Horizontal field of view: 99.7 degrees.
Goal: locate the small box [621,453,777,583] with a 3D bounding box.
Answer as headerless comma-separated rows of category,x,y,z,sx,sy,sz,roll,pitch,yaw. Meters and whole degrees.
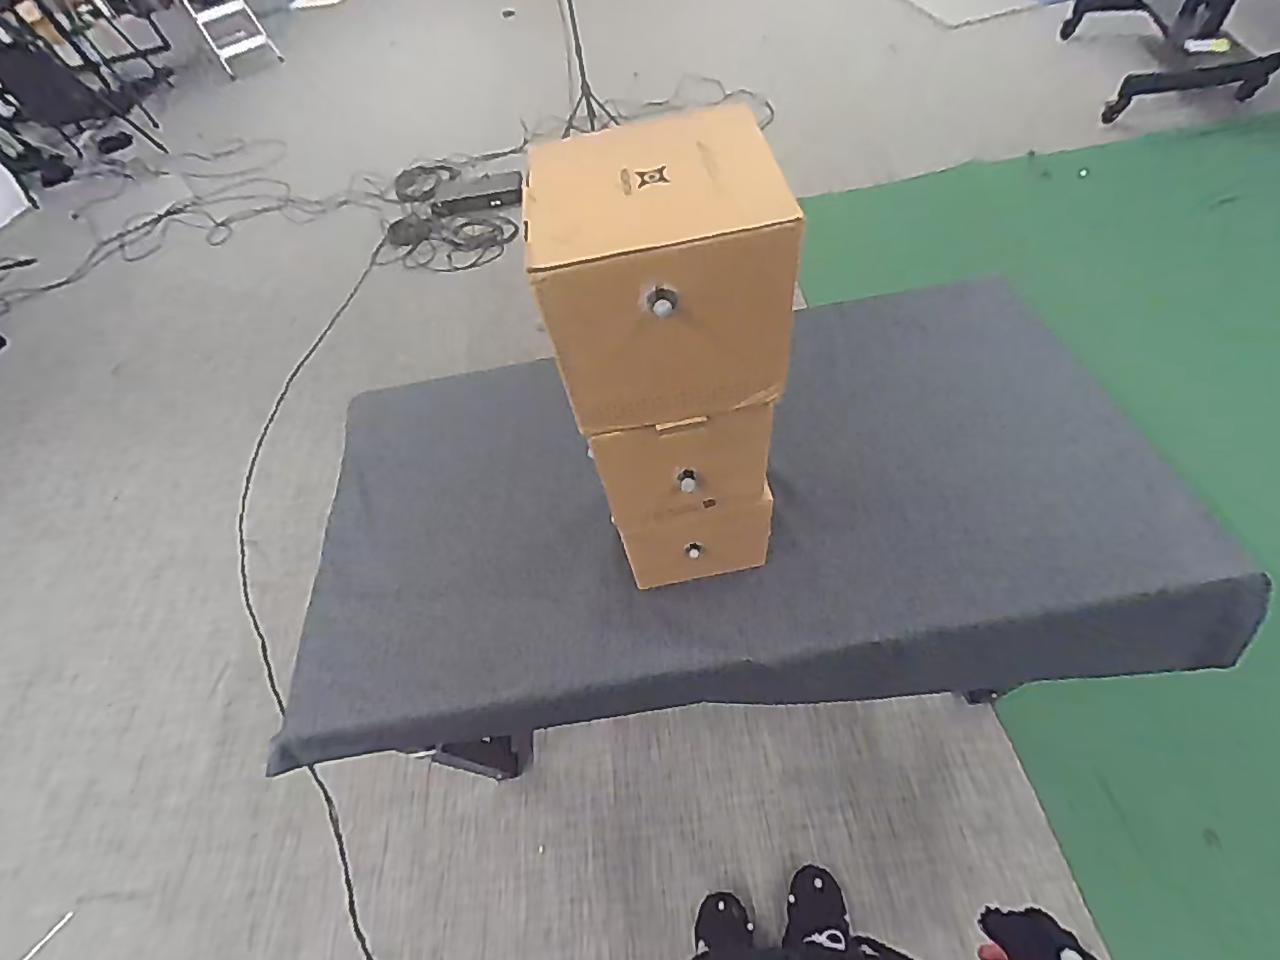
small box,0.060,0.015,0.704,0.179,0.176,0.168,-13,56,-2

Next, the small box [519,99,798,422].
small box,0.013,-0.165,0.436,0.179,0.176,0.168,-9,57,2

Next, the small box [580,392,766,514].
small box,0.030,-0.079,0.573,0.168,0.176,0.179,-11,56,1
